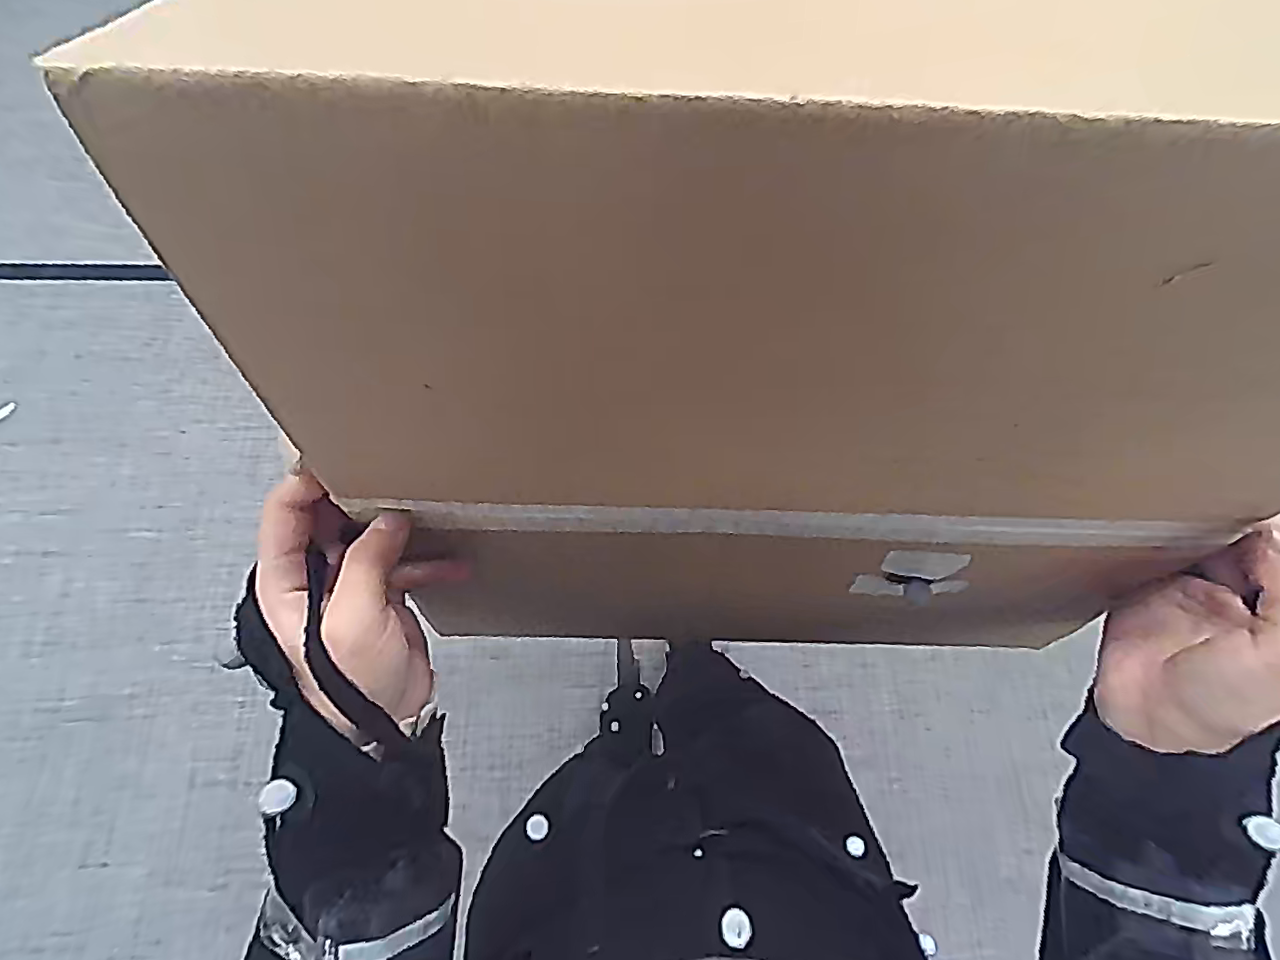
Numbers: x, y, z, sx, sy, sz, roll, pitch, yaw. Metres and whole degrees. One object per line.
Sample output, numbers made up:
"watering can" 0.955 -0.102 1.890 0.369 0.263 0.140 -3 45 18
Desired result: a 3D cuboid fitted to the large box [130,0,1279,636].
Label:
"large box" 0.067 -0.105 0.339 0.408 0.320 0.320 1 54 -2
